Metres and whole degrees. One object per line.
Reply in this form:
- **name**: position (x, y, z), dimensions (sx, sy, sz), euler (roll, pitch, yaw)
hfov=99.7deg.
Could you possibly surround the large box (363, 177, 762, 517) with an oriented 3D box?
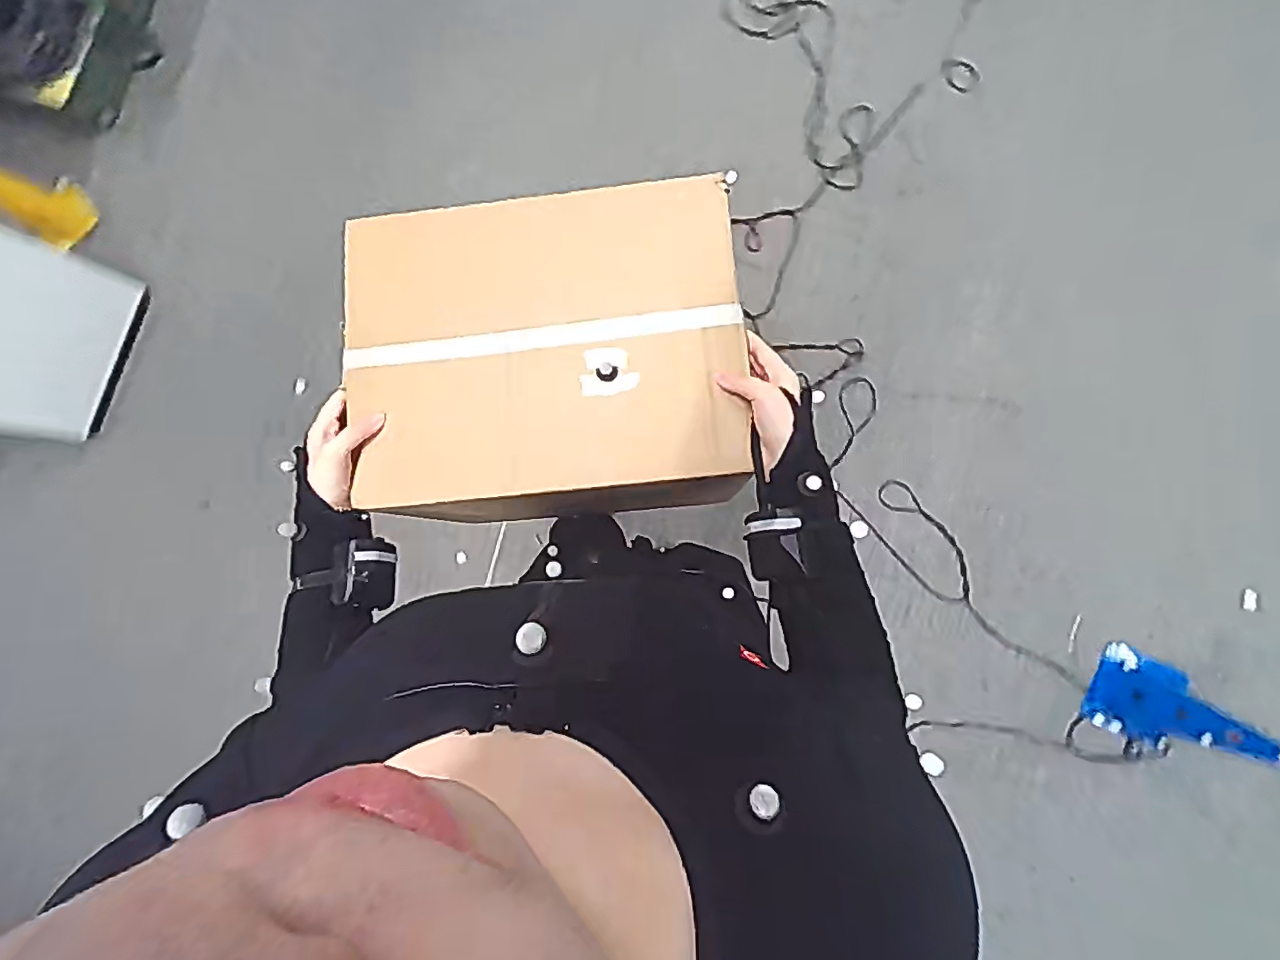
- **large box**: position (-0.083, -0.130, 0.700), dimensions (0.408, 0.320, 0.320), euler (-4, 82, 2)

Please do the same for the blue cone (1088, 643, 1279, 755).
- **blue cone**: position (1.211, 0.507, 1.178), dimensions (0.192, 0.380, 0.193), euler (24, 89, 7)
